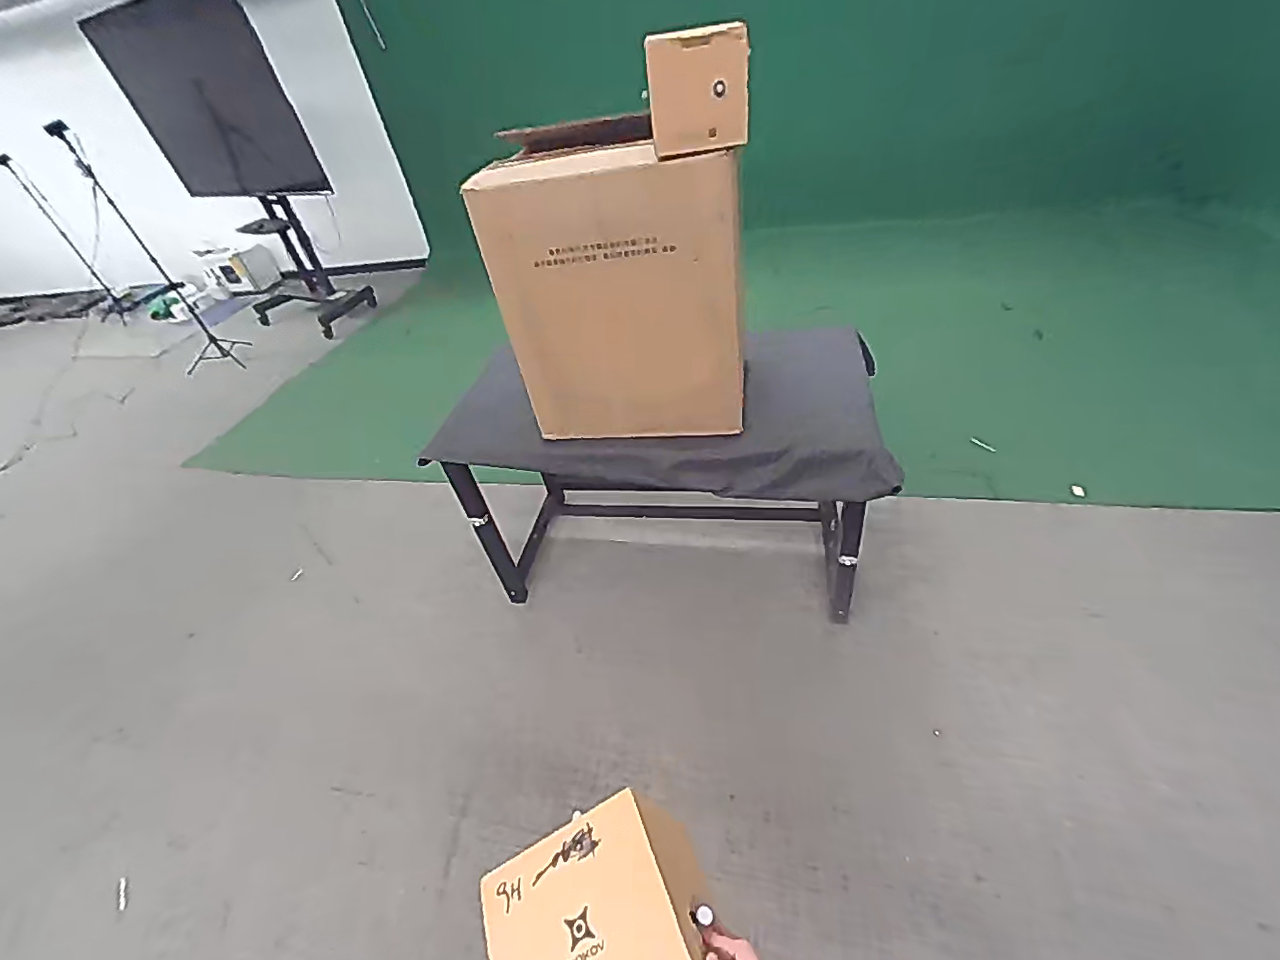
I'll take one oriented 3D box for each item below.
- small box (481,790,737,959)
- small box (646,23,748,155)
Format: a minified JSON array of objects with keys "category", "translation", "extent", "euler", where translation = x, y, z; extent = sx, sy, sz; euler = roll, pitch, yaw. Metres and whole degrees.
[{"category":"small box","translation":[-0.019,0.431,0.502],"extent":[0.168,0.176,0.179],"euler":[-30,44,-2]},{"category":"small box","translation":[0.105,-0.698,0.973],"extent":[0.168,0.176,0.179],"euler":[-3,40,6]}]
